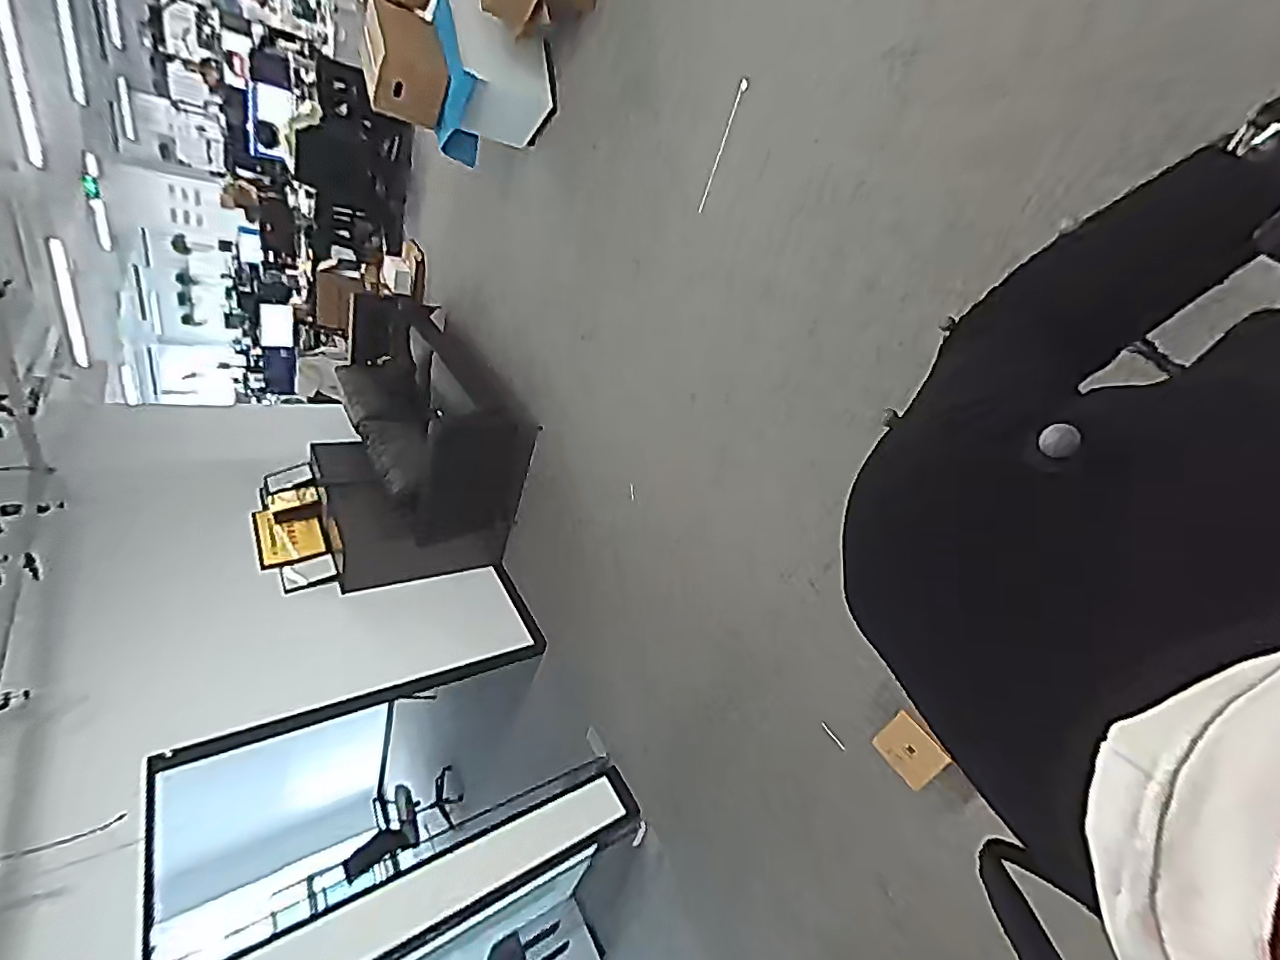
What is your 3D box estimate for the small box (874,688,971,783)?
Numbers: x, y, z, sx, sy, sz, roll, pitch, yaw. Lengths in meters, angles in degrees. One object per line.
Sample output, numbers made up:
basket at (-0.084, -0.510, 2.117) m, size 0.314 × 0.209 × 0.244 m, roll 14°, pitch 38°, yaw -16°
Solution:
small box at (0.849, 0.755, 1.617) m, size 0.168 × 0.176 × 0.179 m, roll 50°, pitch 131°, yaw 37°
